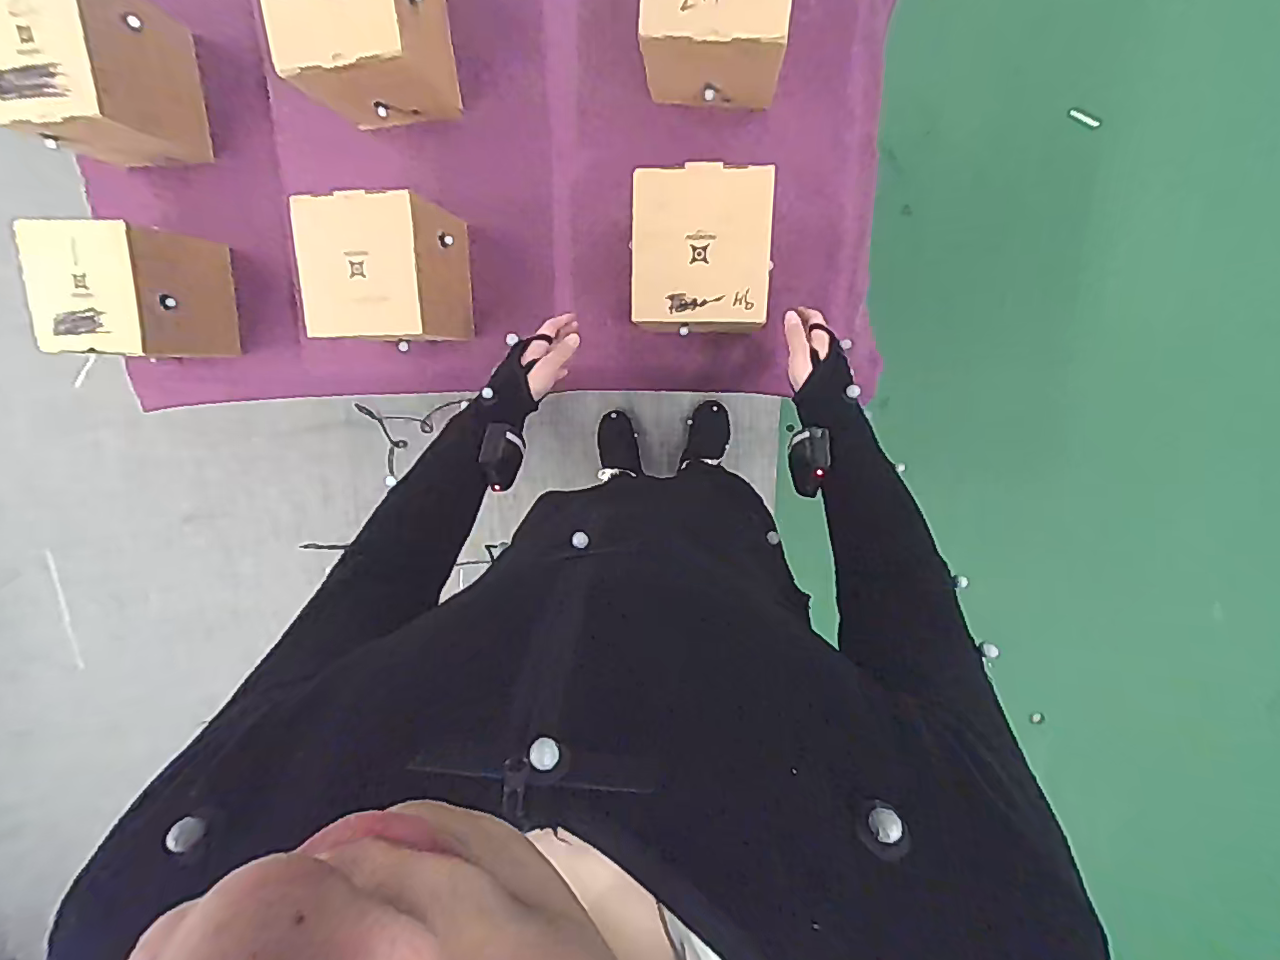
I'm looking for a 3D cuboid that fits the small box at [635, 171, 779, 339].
[{"bbox_3d":[0.085,-0.287,0.722,0.168,0.176,0.179,3,101,7],"label":"small box"}]

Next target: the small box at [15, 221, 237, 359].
[{"bbox_3d":[-0.747,-0.273,0.809,0.168,0.176,0.179,3,102,5],"label":"small box"}]

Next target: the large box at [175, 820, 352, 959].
[{"bbox_3d":[-1.370,1.557,1.993,0.408,0.320,0.320,24,105,-1],"label":"large box"}]

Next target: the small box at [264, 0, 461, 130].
[{"bbox_3d":[-0.352,-0.590,0.699,0.168,0.176,0.179,-4,104,6],"label":"small box"}]

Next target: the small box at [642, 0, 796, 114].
[{"bbox_3d":[0.099,-0.580,0.652,0.168,0.176,0.179,7,105,5],"label":"small box"}]

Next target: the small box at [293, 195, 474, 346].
[{"bbox_3d":[-0.349,-0.285,0.769,0.168,0.176,0.179,1,103,6],"label":"small box"}]
